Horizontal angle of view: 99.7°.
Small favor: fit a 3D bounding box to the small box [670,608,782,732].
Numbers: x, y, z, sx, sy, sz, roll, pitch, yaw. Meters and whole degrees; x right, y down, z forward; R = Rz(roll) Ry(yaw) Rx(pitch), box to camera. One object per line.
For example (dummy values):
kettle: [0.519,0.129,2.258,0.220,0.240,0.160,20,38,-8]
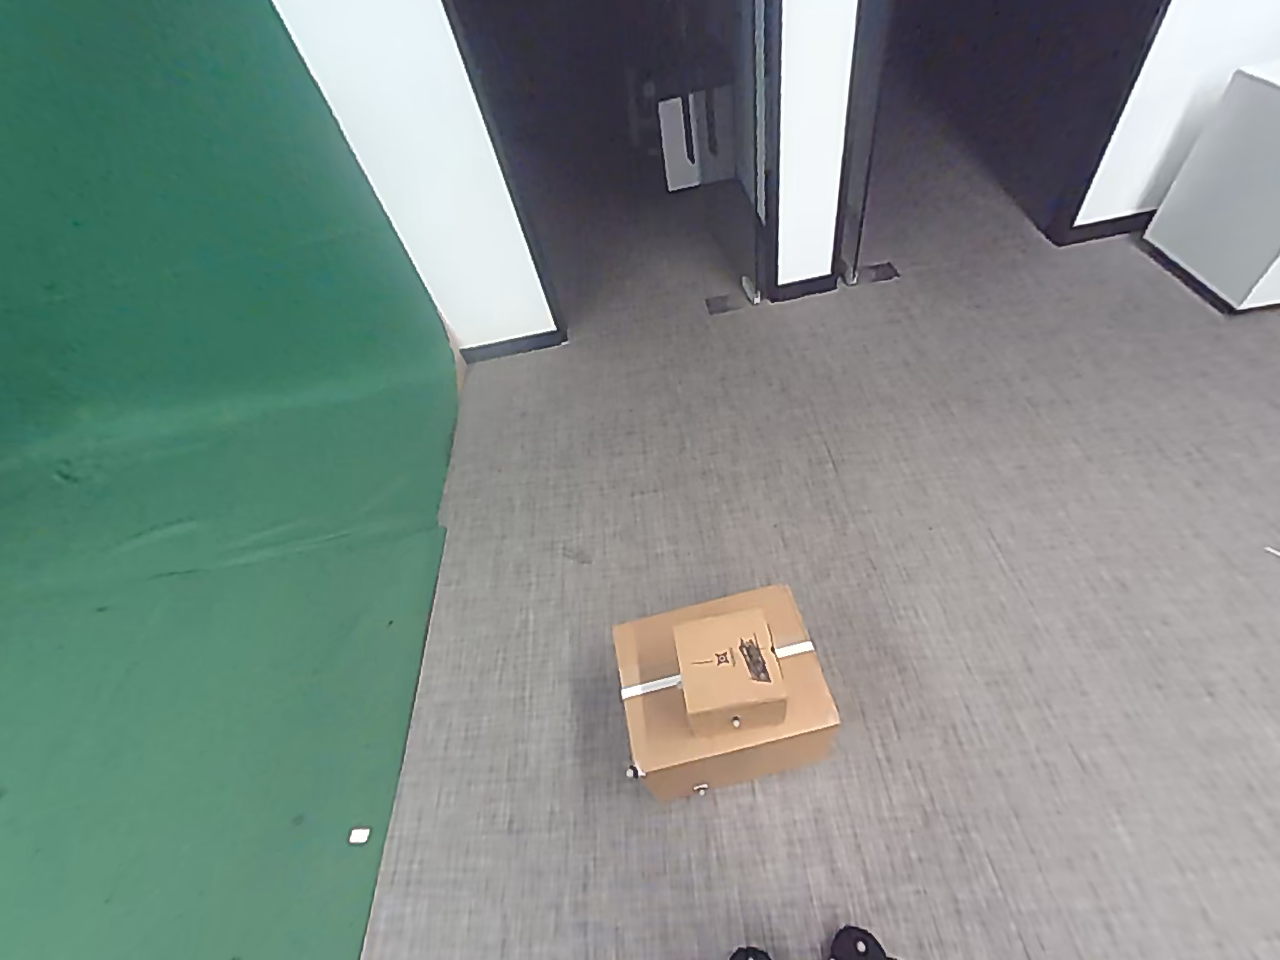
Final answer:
small box: [0.163,0.367,1.036,0.179,0.176,0.168,-12,50,4]
